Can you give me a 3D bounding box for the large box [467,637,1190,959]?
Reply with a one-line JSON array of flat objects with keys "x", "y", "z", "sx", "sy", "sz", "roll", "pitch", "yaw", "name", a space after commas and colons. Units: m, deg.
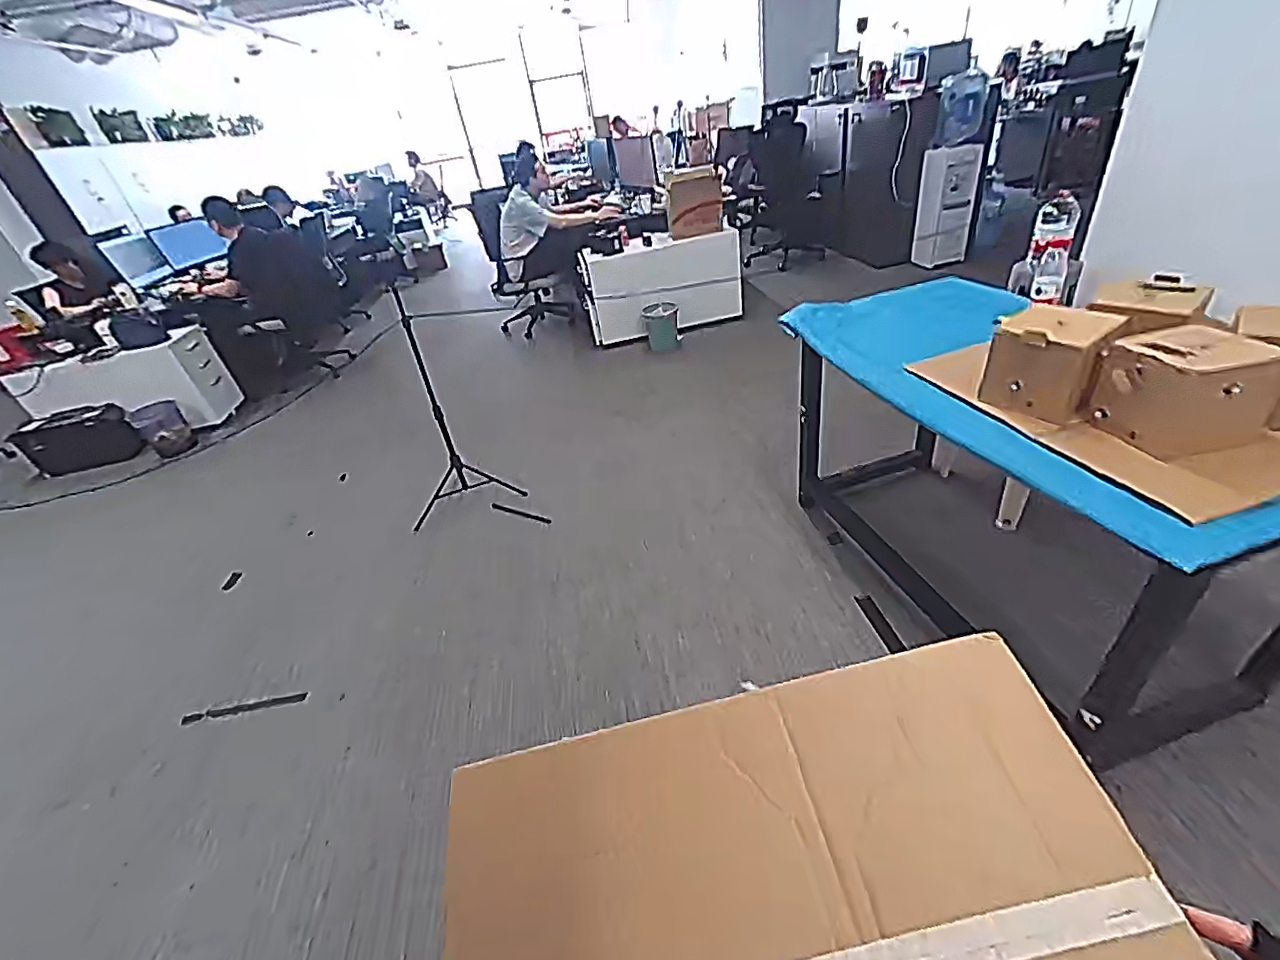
[{"x": 0.117, "y": 0.371, "z": 0.420, "sx": 0.408, "sy": 0.320, "sz": 0.320, "roll": -15, "pitch": 52, "yaw": 1, "name": "large box"}]
